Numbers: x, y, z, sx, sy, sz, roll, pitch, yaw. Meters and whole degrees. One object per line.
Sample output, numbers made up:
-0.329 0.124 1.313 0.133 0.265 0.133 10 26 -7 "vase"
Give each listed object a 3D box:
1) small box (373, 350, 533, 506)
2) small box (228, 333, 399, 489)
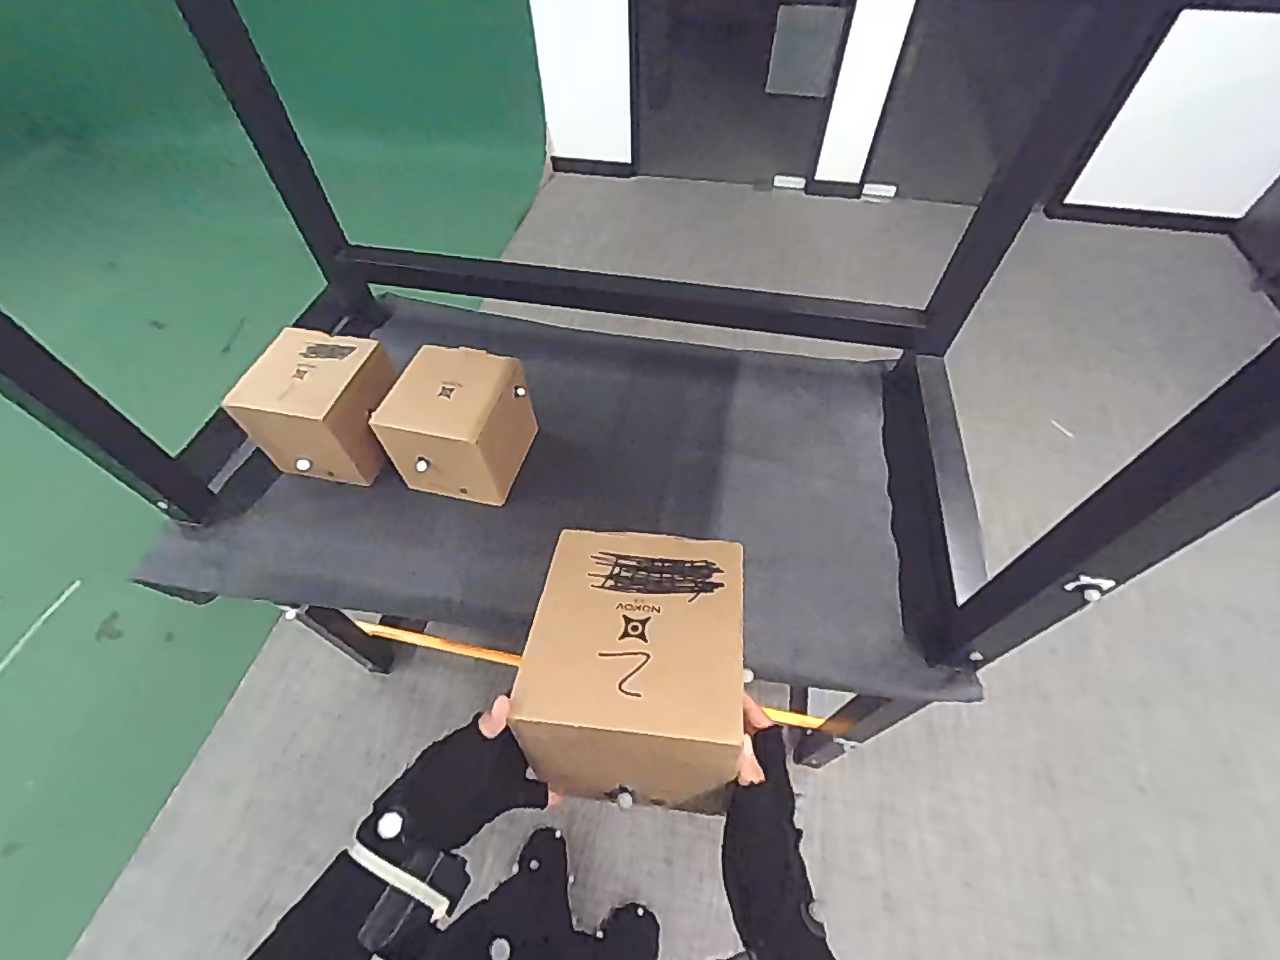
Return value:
-0.284 -0.080 0.872 0.168 0.176 0.179 10 54 8 "small box"
-0.508 -0.112 0.893 0.168 0.176 0.179 9 55 7 "small box"
